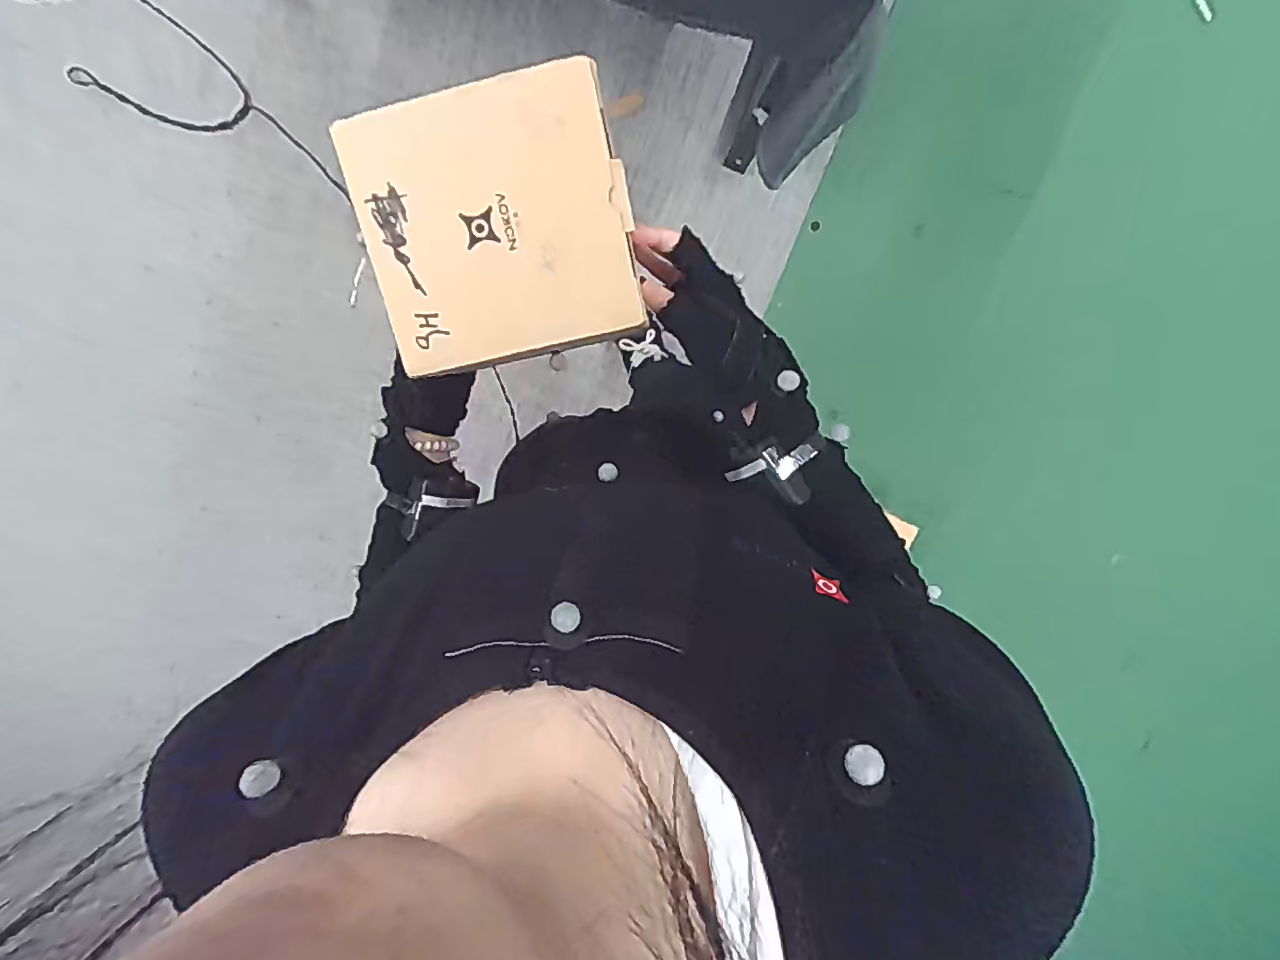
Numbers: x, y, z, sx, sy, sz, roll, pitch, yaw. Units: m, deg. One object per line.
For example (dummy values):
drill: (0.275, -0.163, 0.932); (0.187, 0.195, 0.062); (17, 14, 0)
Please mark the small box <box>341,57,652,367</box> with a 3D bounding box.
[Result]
small box: (-0.093, -0.192, 0.438); (0.179, 0.176, 0.168); (-11, 103, 2)
